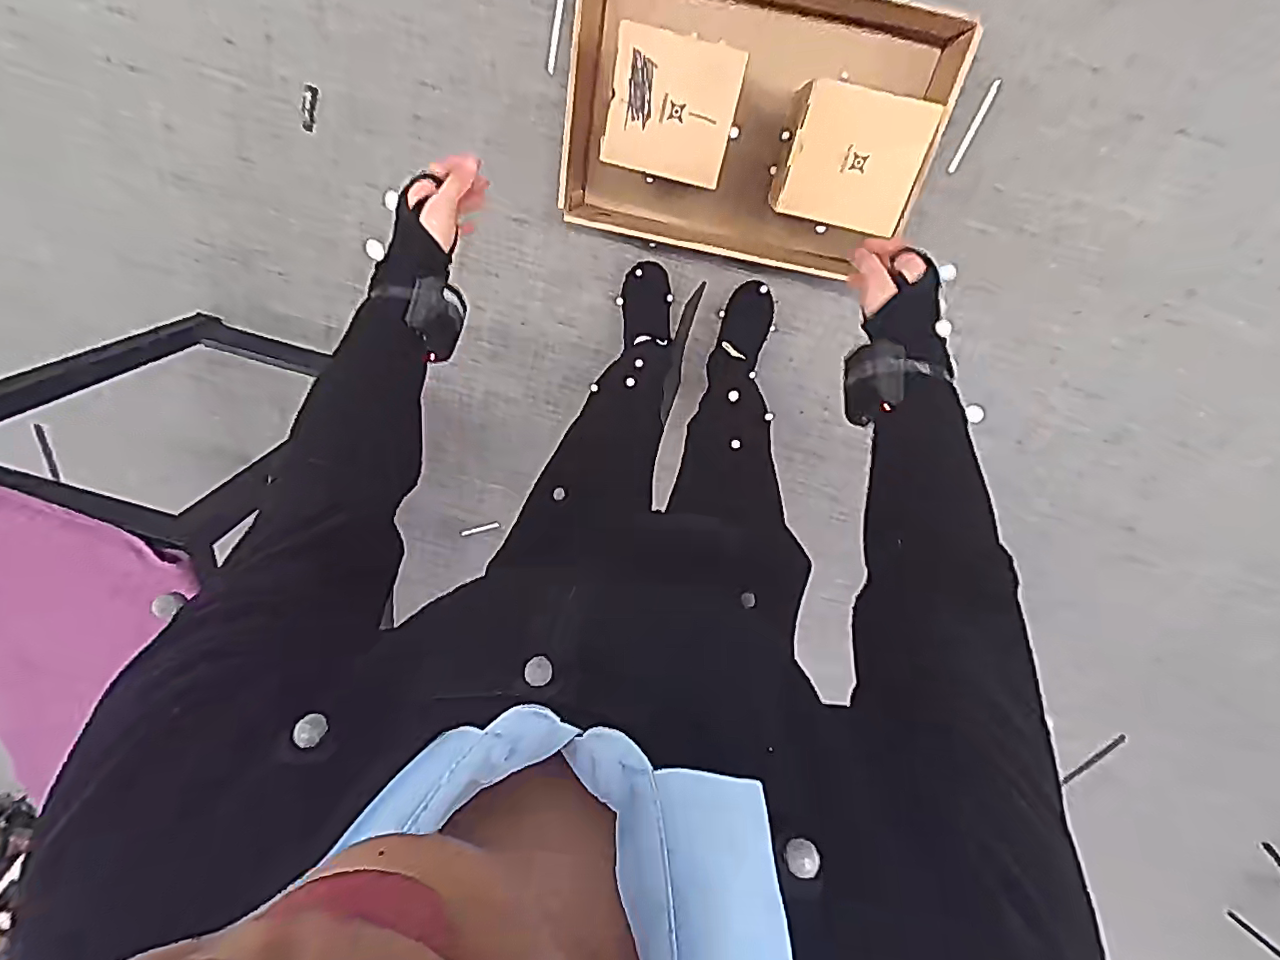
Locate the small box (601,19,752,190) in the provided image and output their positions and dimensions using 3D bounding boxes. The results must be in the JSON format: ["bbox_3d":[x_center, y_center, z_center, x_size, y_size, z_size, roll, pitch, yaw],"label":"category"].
[{"bbox_3d":[0.053,-0.551,0.810,0.179,0.176,0.168,13,123,-2],"label":"small box"}]

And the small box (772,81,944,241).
[{"bbox_3d":[0.311,-0.480,0.817,0.179,0.176,0.168,15,123,1],"label":"small box"}]
